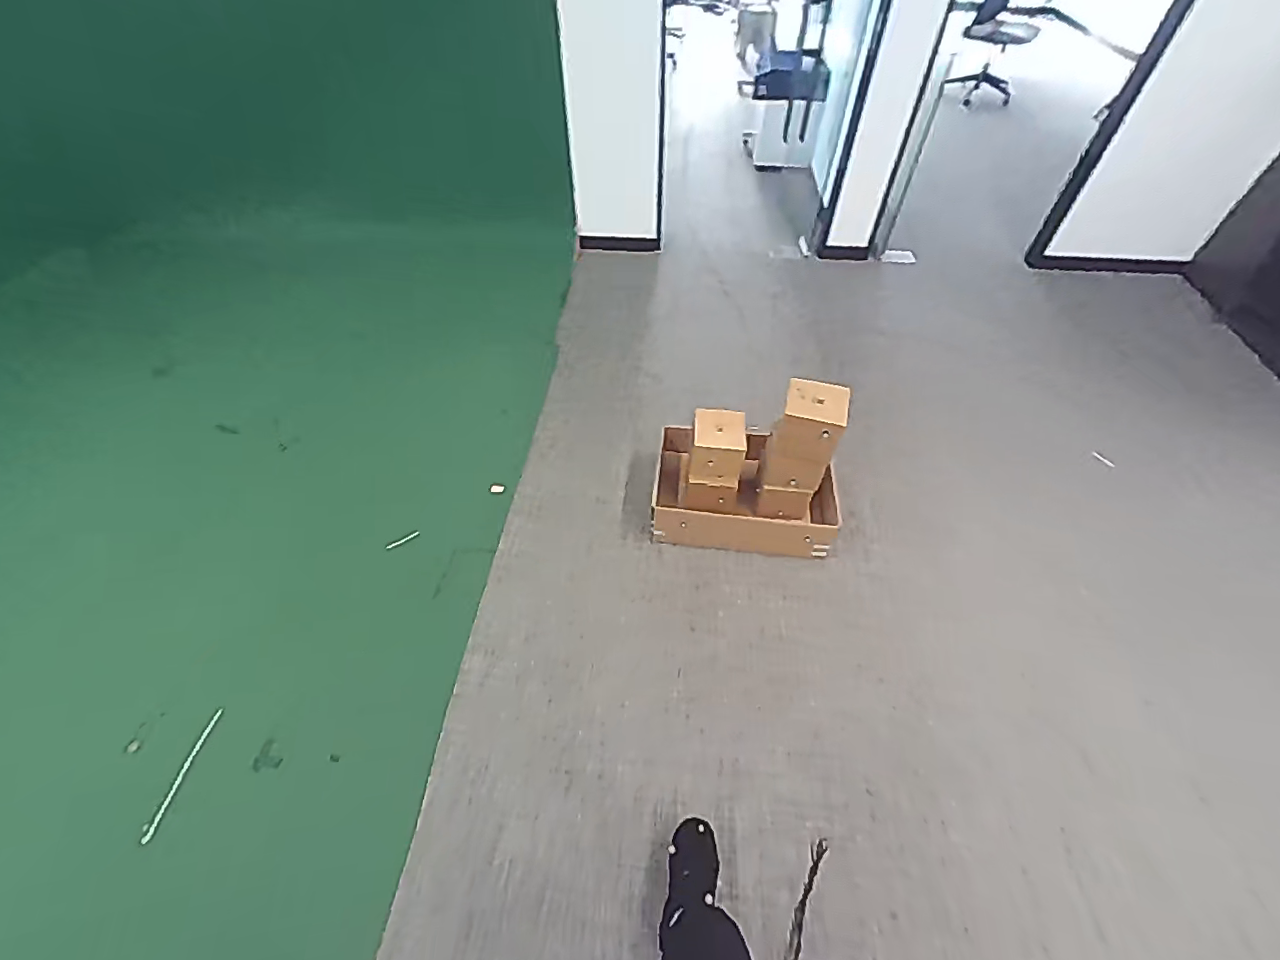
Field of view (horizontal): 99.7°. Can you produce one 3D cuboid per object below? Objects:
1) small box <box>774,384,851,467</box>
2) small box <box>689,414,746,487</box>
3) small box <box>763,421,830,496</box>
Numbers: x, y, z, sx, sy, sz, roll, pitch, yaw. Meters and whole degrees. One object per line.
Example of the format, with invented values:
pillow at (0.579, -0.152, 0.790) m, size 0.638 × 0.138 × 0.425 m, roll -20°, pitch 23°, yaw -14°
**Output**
small box at (0.517, -0.161, 1.630) m, size 0.179 × 0.176 × 0.168 m, roll 14°, pitch 52°, yaw 11°
small box at (0.256, -0.096, 1.795) m, size 0.168 × 0.176 × 0.179 m, roll 5°, pitch 50°, yaw 1°
small box at (0.509, -0.067, 1.767) m, size 0.179 × 0.176 × 0.168 m, roll 8°, pitch 51°, yaw 6°
